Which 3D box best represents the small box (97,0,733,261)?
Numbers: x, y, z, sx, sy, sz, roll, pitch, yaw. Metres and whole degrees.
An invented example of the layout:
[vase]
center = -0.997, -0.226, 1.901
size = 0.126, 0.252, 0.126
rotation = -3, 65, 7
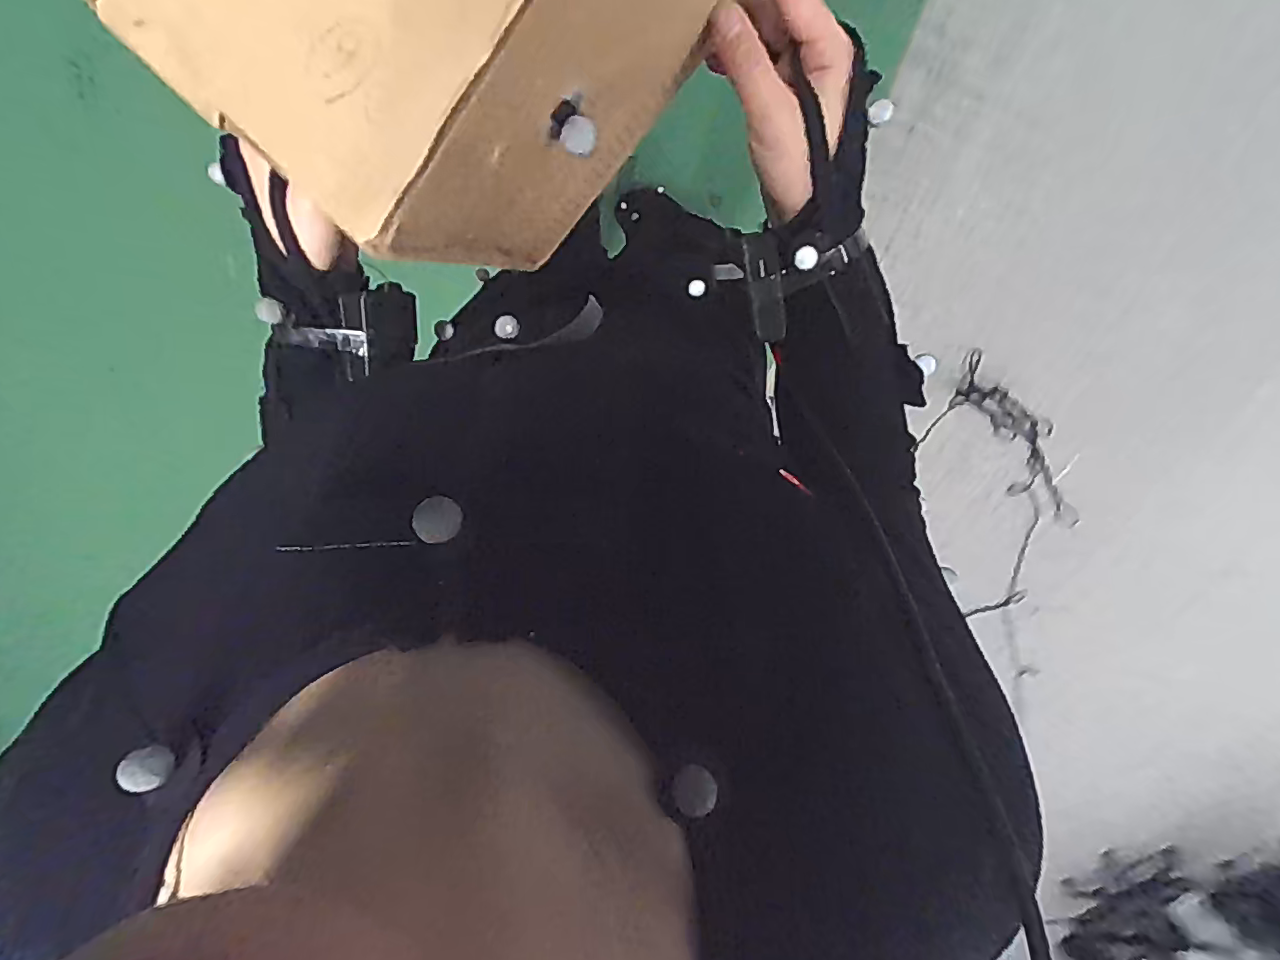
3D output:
[small box]
center = -0.073, -0.207, 0.209
size = 0.168, 0.176, 0.179
rotation = 45, 109, -7
